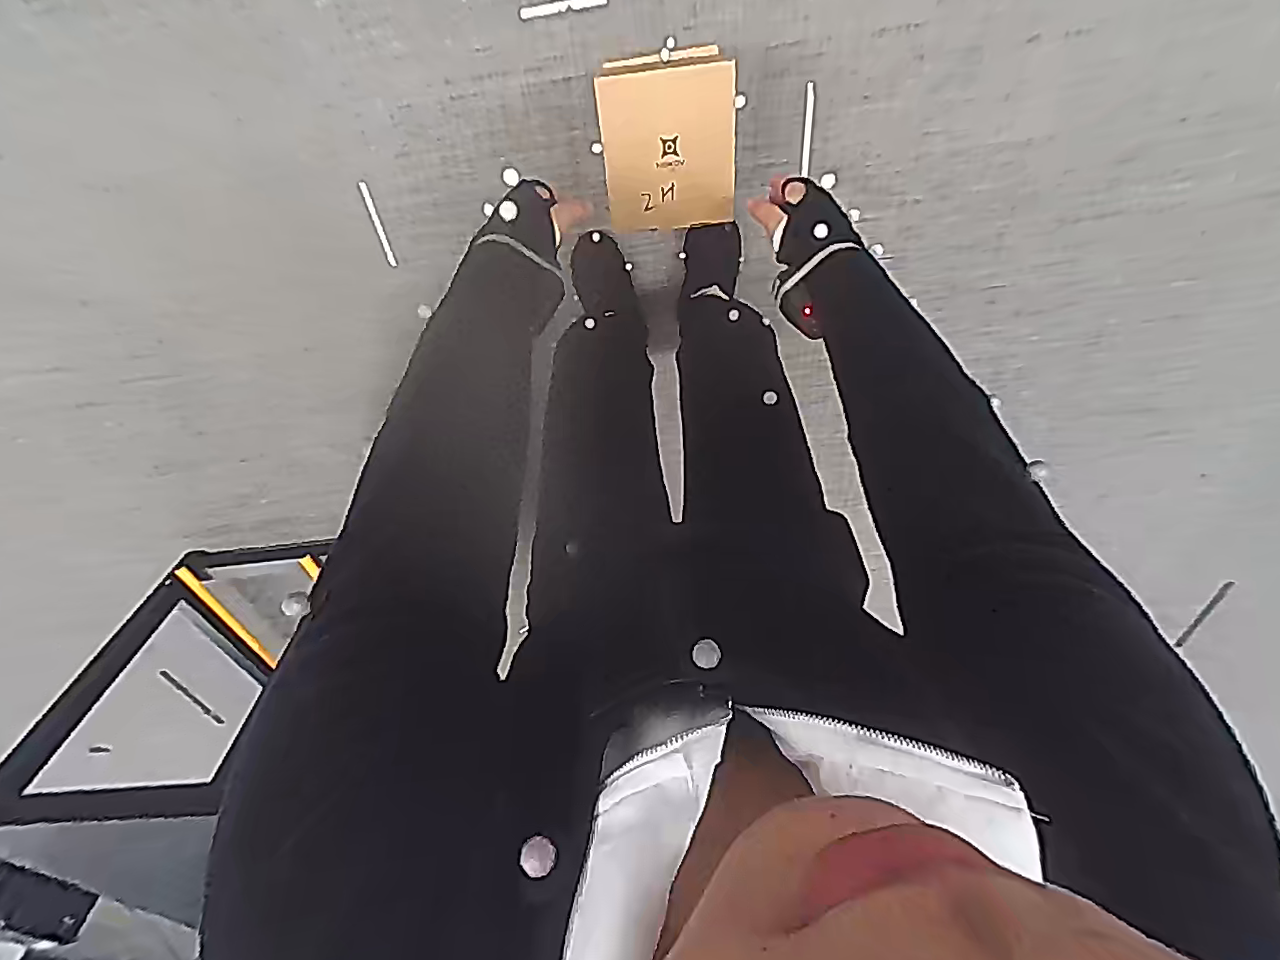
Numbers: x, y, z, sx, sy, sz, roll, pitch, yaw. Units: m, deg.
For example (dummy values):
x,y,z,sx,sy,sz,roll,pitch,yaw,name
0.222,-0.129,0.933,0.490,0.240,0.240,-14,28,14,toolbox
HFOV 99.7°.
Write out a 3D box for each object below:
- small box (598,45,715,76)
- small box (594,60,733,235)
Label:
x,y,z,sx,sy,sz,roll,pitch,yaw,name
0.032,-0.567,0.860,0.168,0.176,0.179,-6,130,4,small box
0.031,-0.455,0.736,0.168,0.176,0.179,-5,130,4,small box
